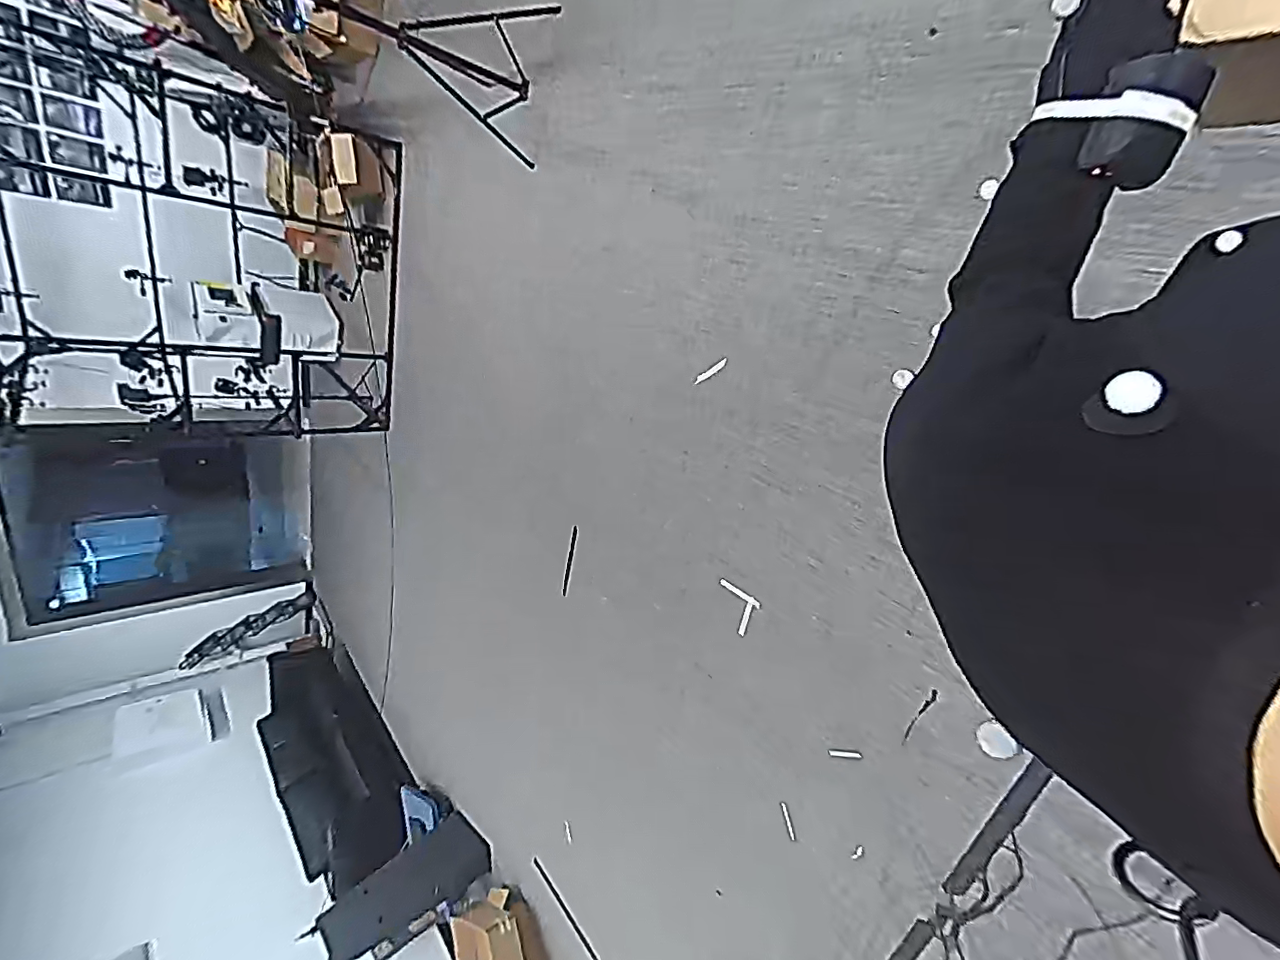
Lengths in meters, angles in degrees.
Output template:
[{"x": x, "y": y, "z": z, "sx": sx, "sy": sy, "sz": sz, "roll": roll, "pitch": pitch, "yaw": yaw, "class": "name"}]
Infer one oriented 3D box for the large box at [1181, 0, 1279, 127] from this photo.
[{"x": 0.594, "y": -0.402, "z": 0.264, "sx": 0.408, "sy": 0.320, "sz": 0.320, "roll": 23, "pitch": 121, "yaw": 40, "class": "large box"}]
